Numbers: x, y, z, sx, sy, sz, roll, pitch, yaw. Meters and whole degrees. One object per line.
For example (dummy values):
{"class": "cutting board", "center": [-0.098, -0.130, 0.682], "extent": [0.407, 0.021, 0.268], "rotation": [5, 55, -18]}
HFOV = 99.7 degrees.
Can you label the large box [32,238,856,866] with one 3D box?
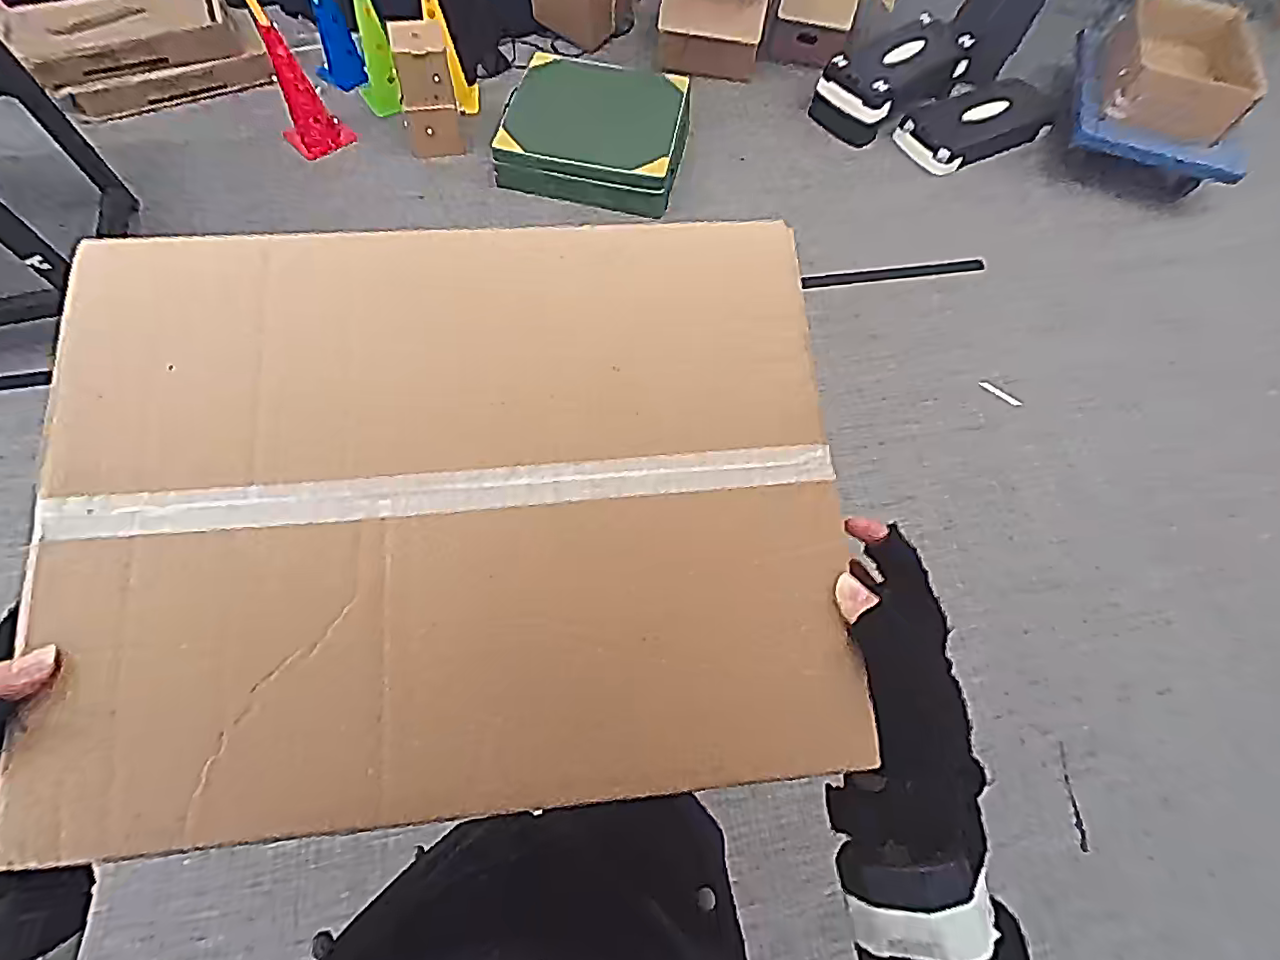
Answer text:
{"class": "large box", "center": [-0.105, 0.043, 0.439], "extent": [0.408, 0.320, 0.320], "rotation": [-4, 77, -5]}
